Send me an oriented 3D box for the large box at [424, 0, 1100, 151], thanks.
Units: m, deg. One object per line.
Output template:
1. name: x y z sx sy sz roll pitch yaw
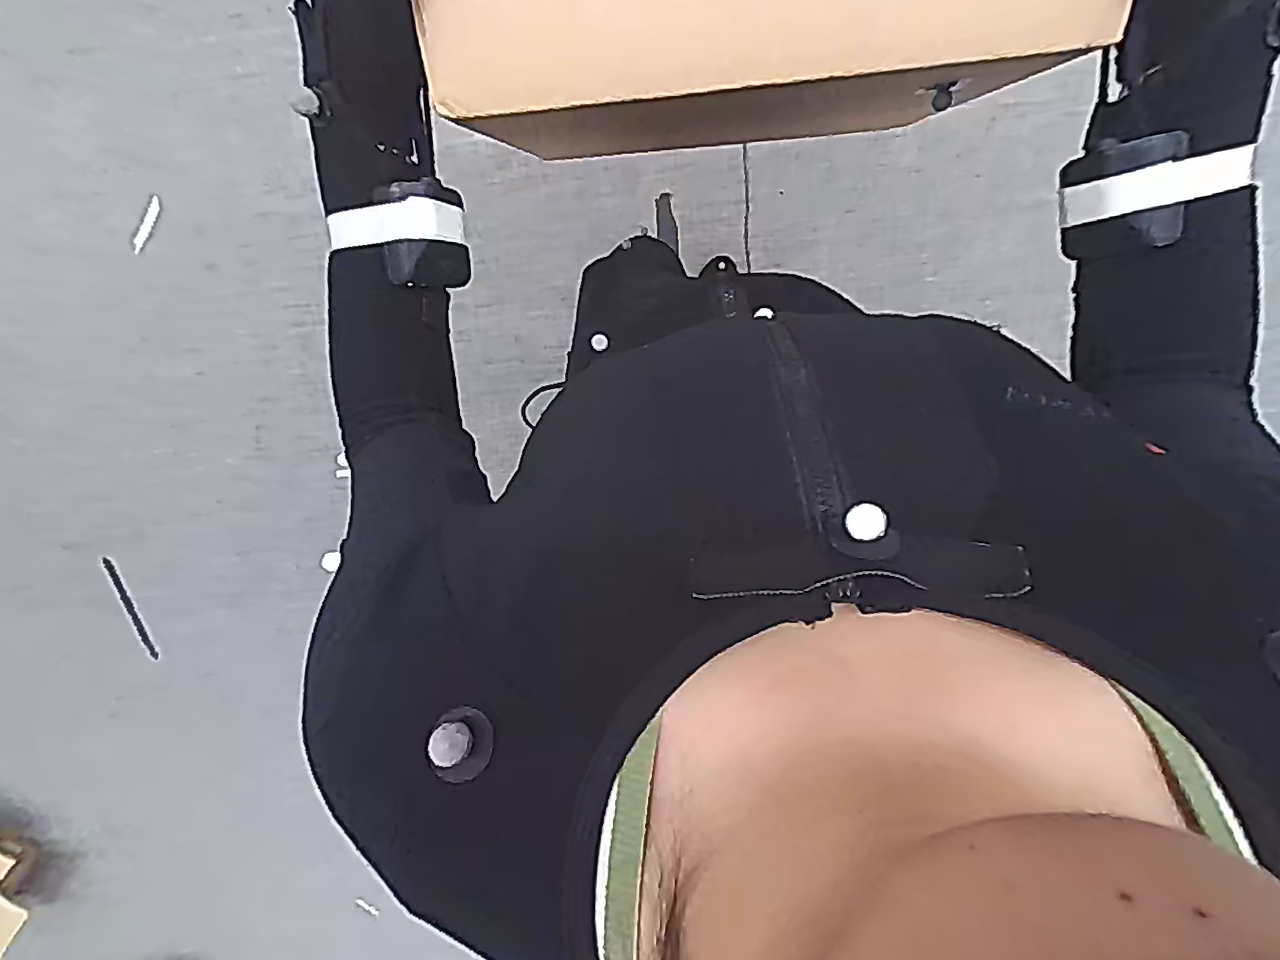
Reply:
1. large box: 0.066 -0.451 0.400 0.408 0.320 0.320 -3 116 4
